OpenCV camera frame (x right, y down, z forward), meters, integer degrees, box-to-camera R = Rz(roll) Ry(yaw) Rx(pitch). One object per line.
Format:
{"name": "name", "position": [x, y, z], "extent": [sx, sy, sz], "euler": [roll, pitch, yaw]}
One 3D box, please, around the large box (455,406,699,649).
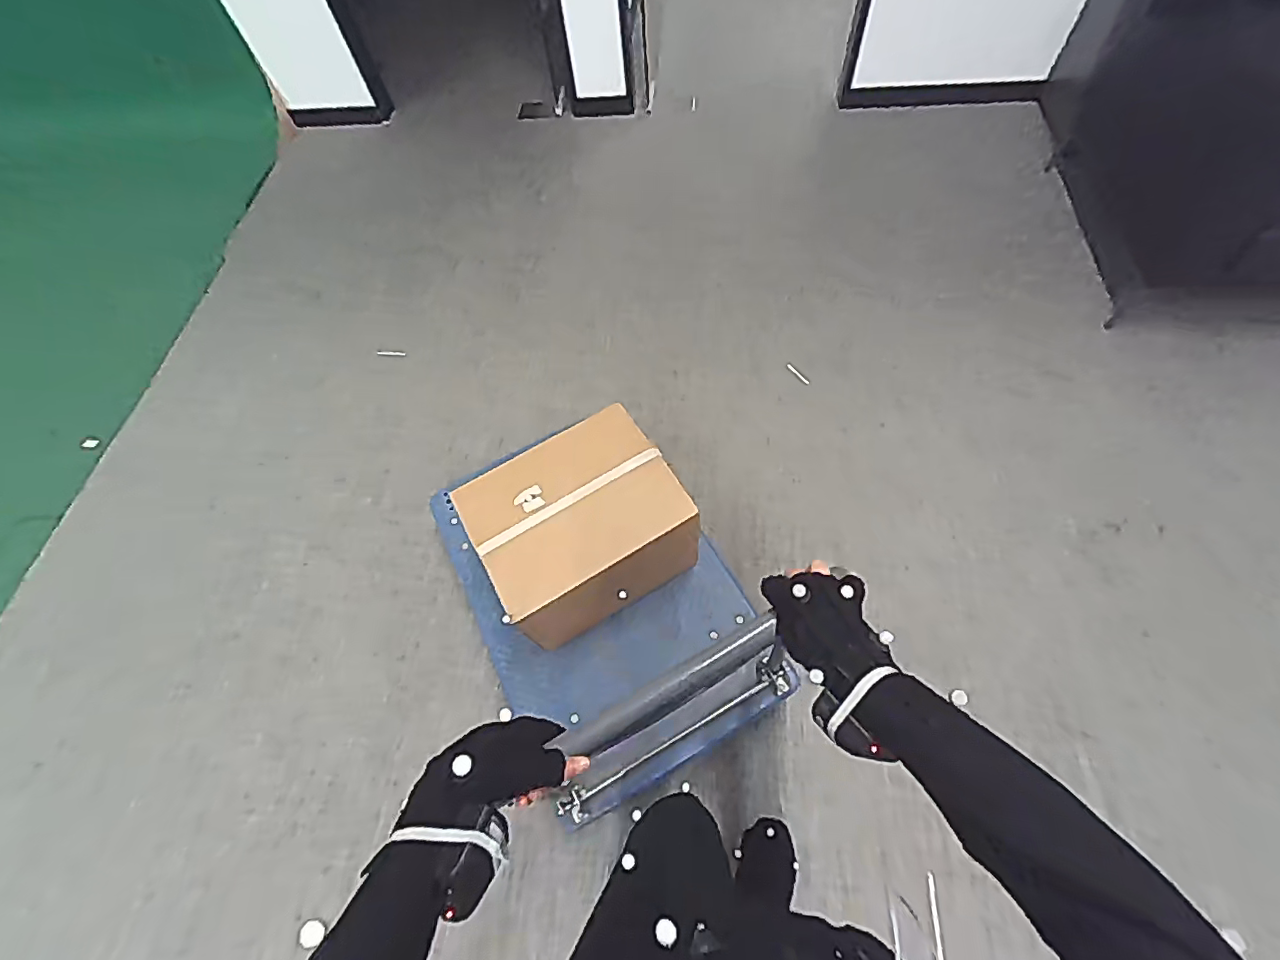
{"name": "large box", "position": [-0.119, 0.115, 1.199], "extent": [0.408, 0.320, 0.320], "euler": [-31, 64, -10]}
